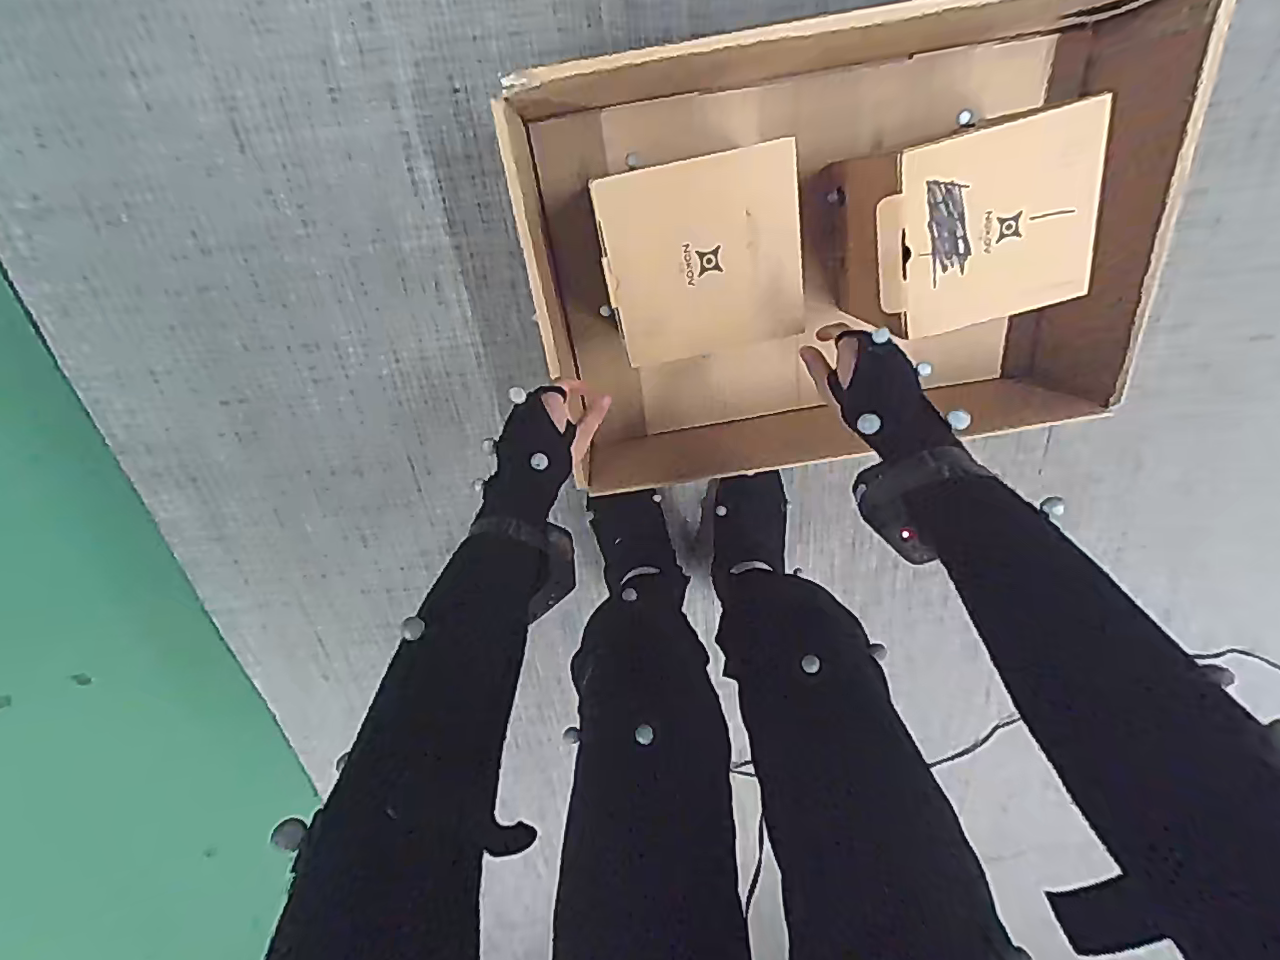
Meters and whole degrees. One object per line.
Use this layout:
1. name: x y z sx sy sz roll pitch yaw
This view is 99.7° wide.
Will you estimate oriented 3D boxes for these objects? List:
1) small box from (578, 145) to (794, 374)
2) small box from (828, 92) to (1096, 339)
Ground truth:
1. small box: 0.042 -0.225 0.555 0.179 0.176 0.168 -13 118 1
2. small box: 0.306 -0.261 0.553 0.179 0.176 0.168 -15 117 4
